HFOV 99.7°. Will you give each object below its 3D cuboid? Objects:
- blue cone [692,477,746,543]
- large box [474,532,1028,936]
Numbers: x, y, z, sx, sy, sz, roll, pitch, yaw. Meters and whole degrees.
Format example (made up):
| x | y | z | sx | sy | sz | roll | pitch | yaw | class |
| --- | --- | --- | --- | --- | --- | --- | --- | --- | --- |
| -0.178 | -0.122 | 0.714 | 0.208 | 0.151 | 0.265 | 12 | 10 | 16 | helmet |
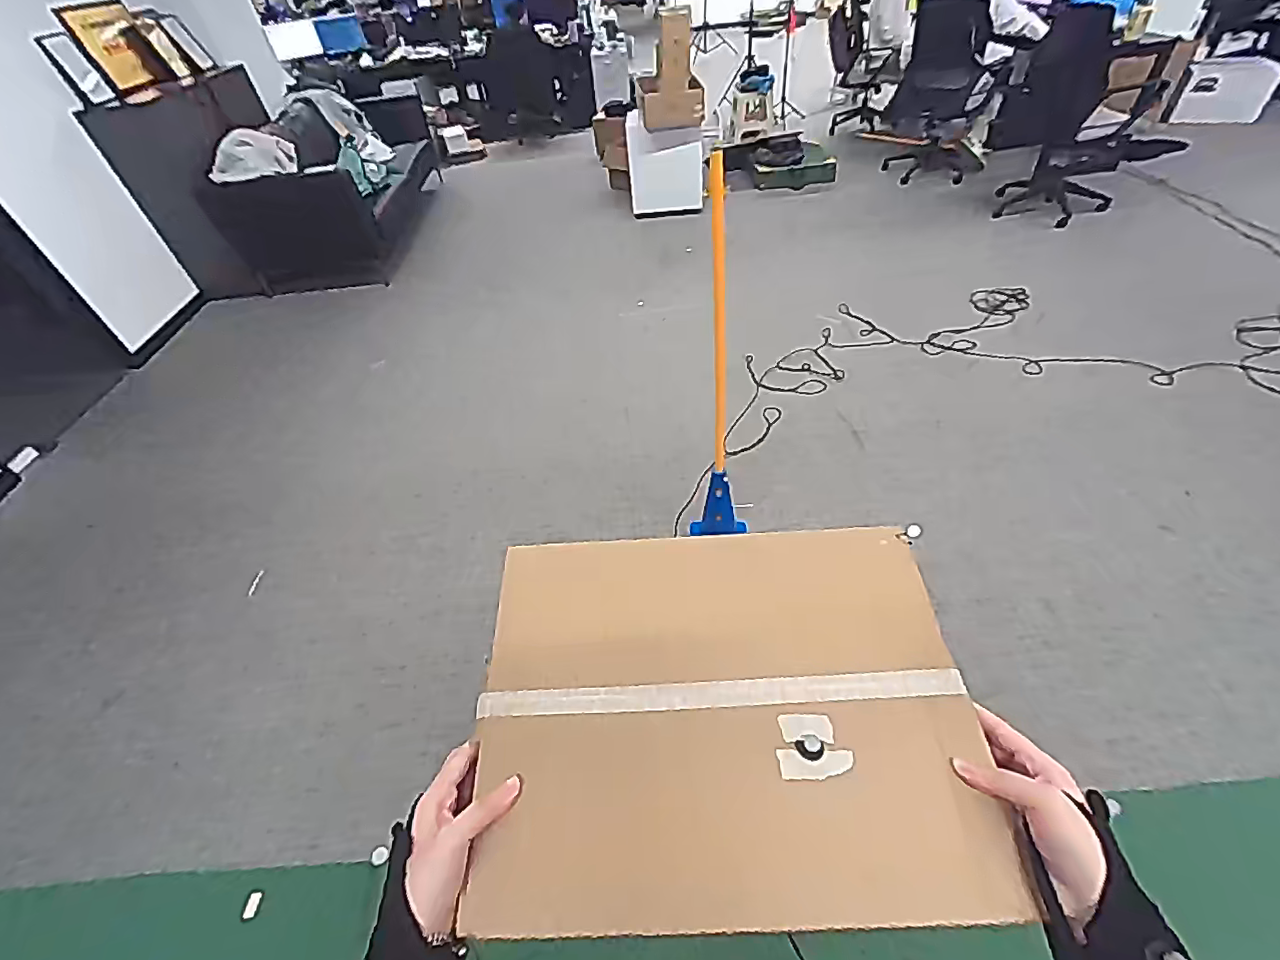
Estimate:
| x | y | z | sx | sy | sz | roll | pitch | yaw | class |
| --- | --- | --- | --- | --- | --- | --- | --- | --- | --- |
| 0.258 | 0.127 | 1.746 | 0.193 | 0.380 | 0.192 | 0 | 46 | 8 | blue cone |
| 0.077 | 0.277 | 0.588 | 0.408 | 0.320 | 0.320 | -3 | 53 | 1 | large box |
